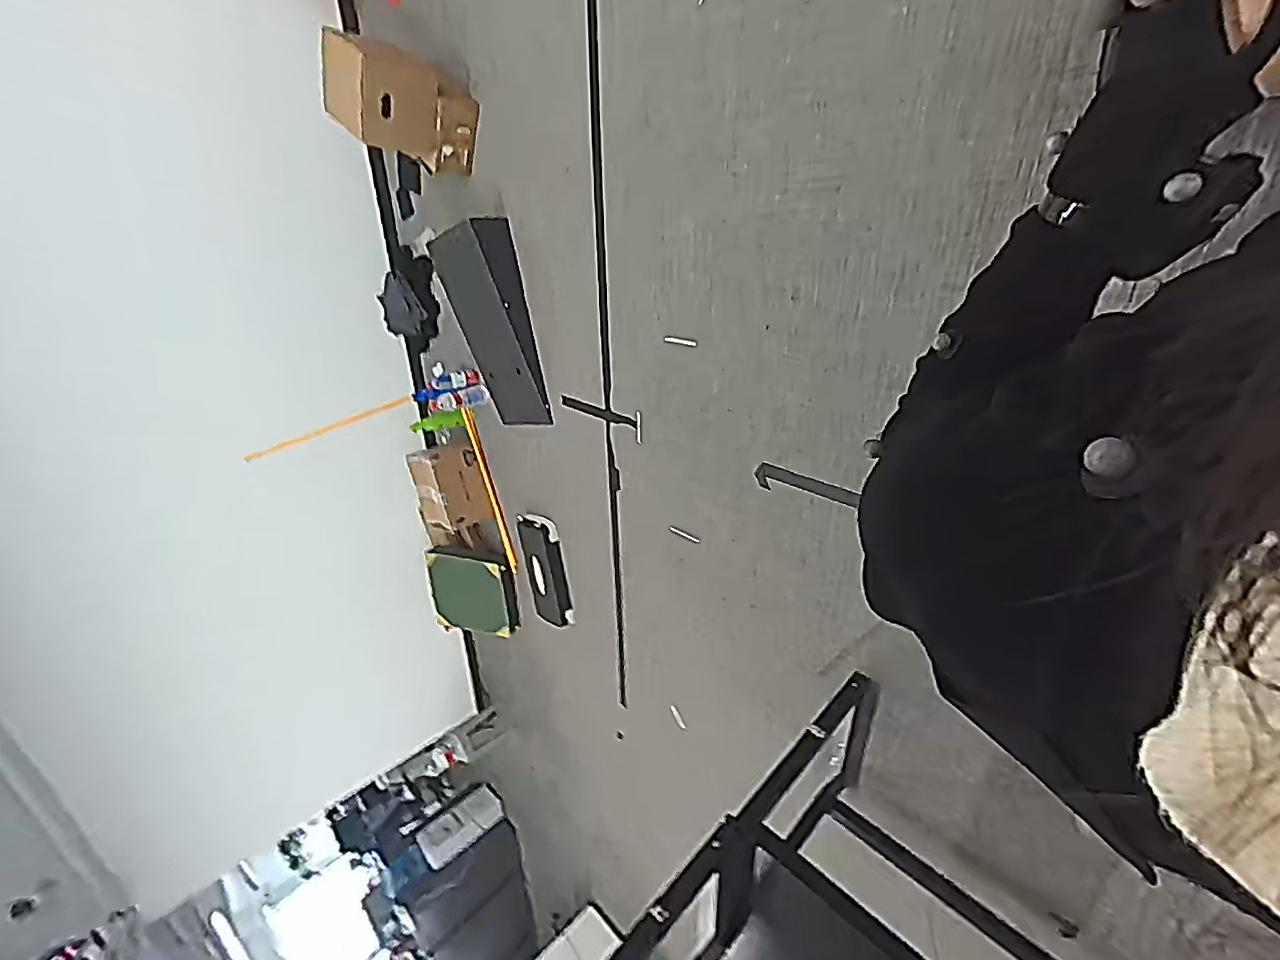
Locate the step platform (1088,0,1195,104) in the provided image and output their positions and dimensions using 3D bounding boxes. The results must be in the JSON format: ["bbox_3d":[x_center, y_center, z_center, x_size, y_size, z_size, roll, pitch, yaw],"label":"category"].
[{"bbox_3d":[1.042,-0.685,0.715,0.684,0.204,0.286,31,129,37],"label":"step platform"}]
